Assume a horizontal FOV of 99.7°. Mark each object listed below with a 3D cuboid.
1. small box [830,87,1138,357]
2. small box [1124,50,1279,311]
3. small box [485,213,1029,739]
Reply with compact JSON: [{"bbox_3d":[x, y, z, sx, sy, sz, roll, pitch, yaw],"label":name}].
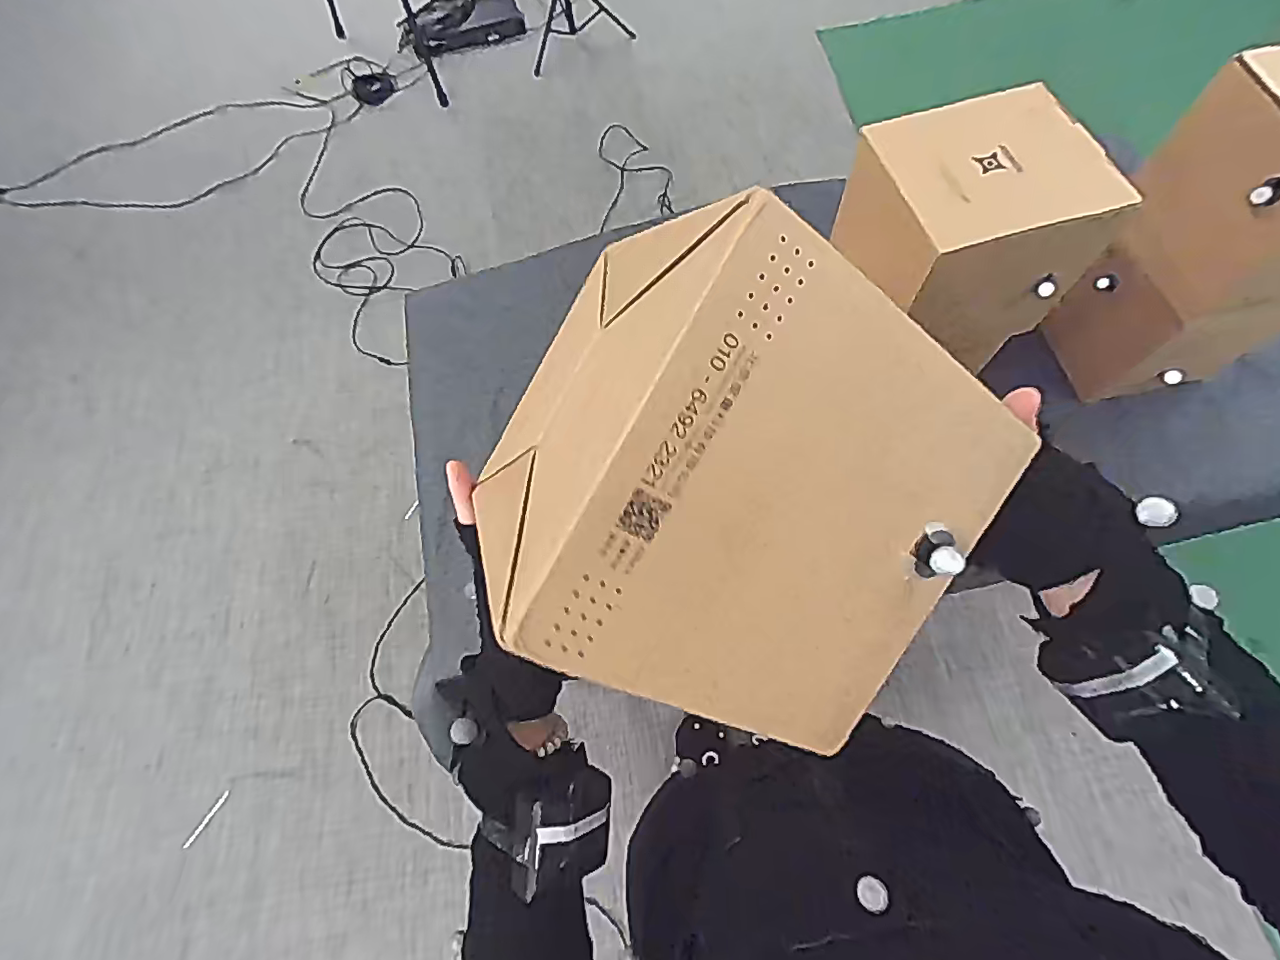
[{"bbox_3d":[0.318,-0.244,0.548,0.179,0.176,0.168,-14,66,1],"label":"small box"},{"bbox_3d":[0.636,-0.287,0.529,0.168,0.176,0.179,-10,67,2],"label":"small box"},{"bbox_3d":[0.035,-0.008,0.278,0.176,0.179,0.168,26,97,-26],"label":"small box"}]
